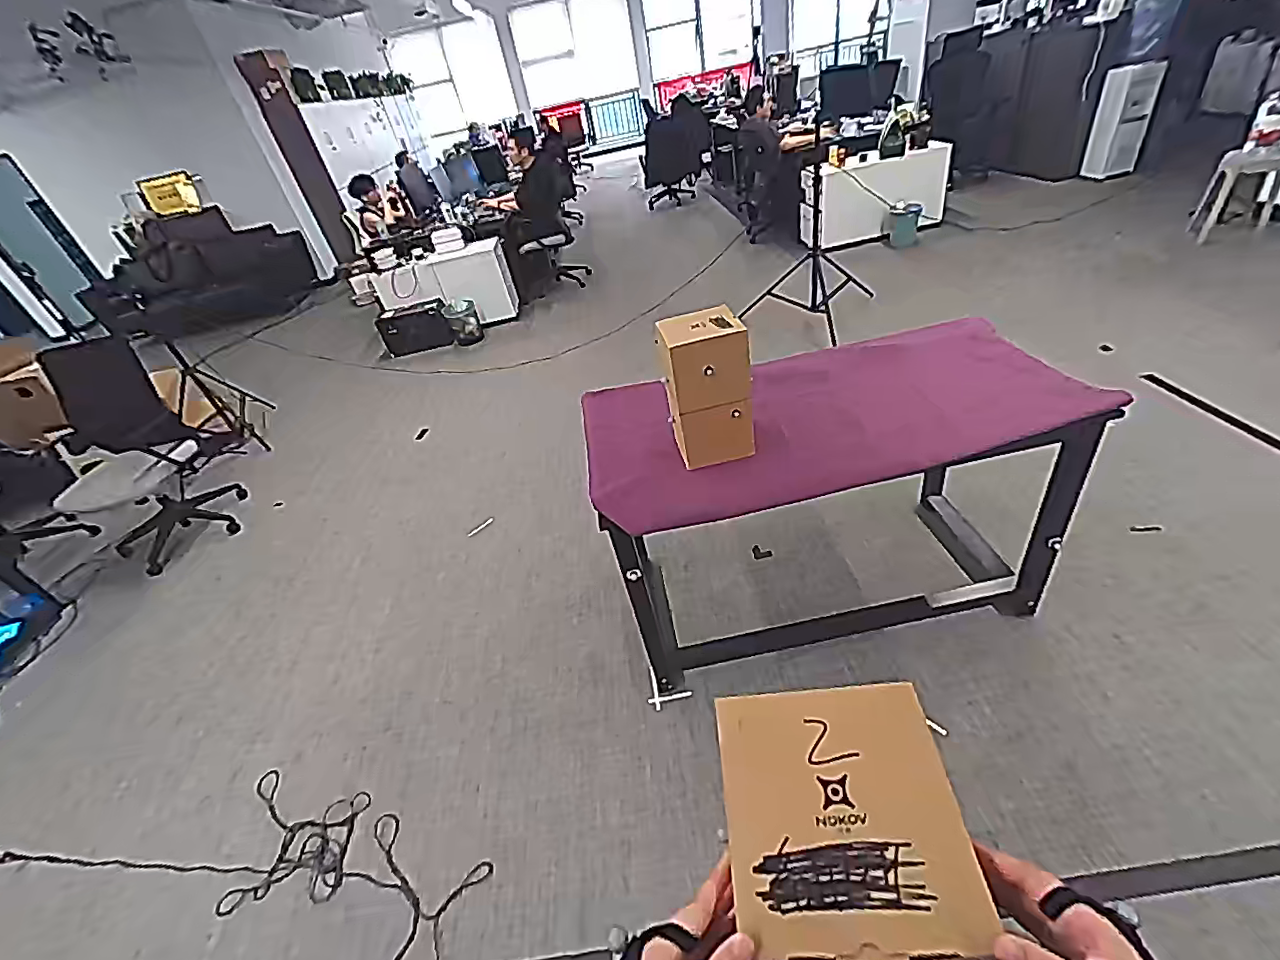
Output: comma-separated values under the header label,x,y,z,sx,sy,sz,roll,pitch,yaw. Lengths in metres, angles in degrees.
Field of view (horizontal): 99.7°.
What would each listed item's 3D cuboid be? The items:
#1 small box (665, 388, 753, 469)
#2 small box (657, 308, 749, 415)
label,x,y,z,sx,sy,sz,roll,pitch,yaw
small box,0.174,-0.148,1.357,0.179,0.176,0.168,-13,37,-1
small box,0.147,-0.274,1.255,0.179,0.176,0.168,-14,36,-1
